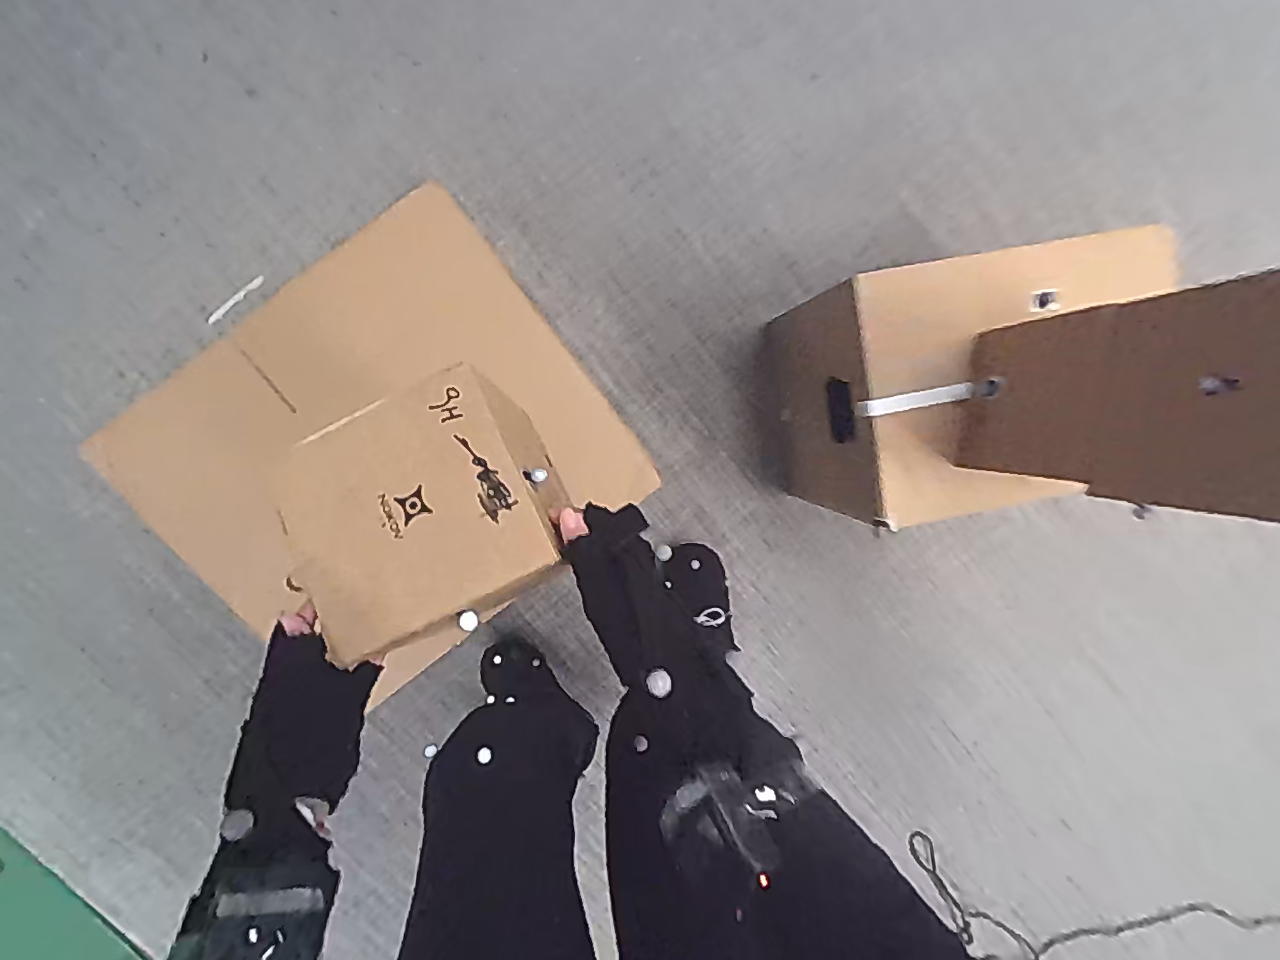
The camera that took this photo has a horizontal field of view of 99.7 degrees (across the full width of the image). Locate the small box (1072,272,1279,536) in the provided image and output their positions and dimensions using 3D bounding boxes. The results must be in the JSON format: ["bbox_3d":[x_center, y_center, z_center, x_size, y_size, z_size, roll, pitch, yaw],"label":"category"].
[{"bbox_3d":[0.493,-0.057,0.430,0.168,0.176,0.179,1,96,-6],"label":"small box"}]

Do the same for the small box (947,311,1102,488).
[{"bbox_3d":[0.480,-0.077,0.593,0.179,0.176,0.168,4,94,-5],"label":"small box"}]
